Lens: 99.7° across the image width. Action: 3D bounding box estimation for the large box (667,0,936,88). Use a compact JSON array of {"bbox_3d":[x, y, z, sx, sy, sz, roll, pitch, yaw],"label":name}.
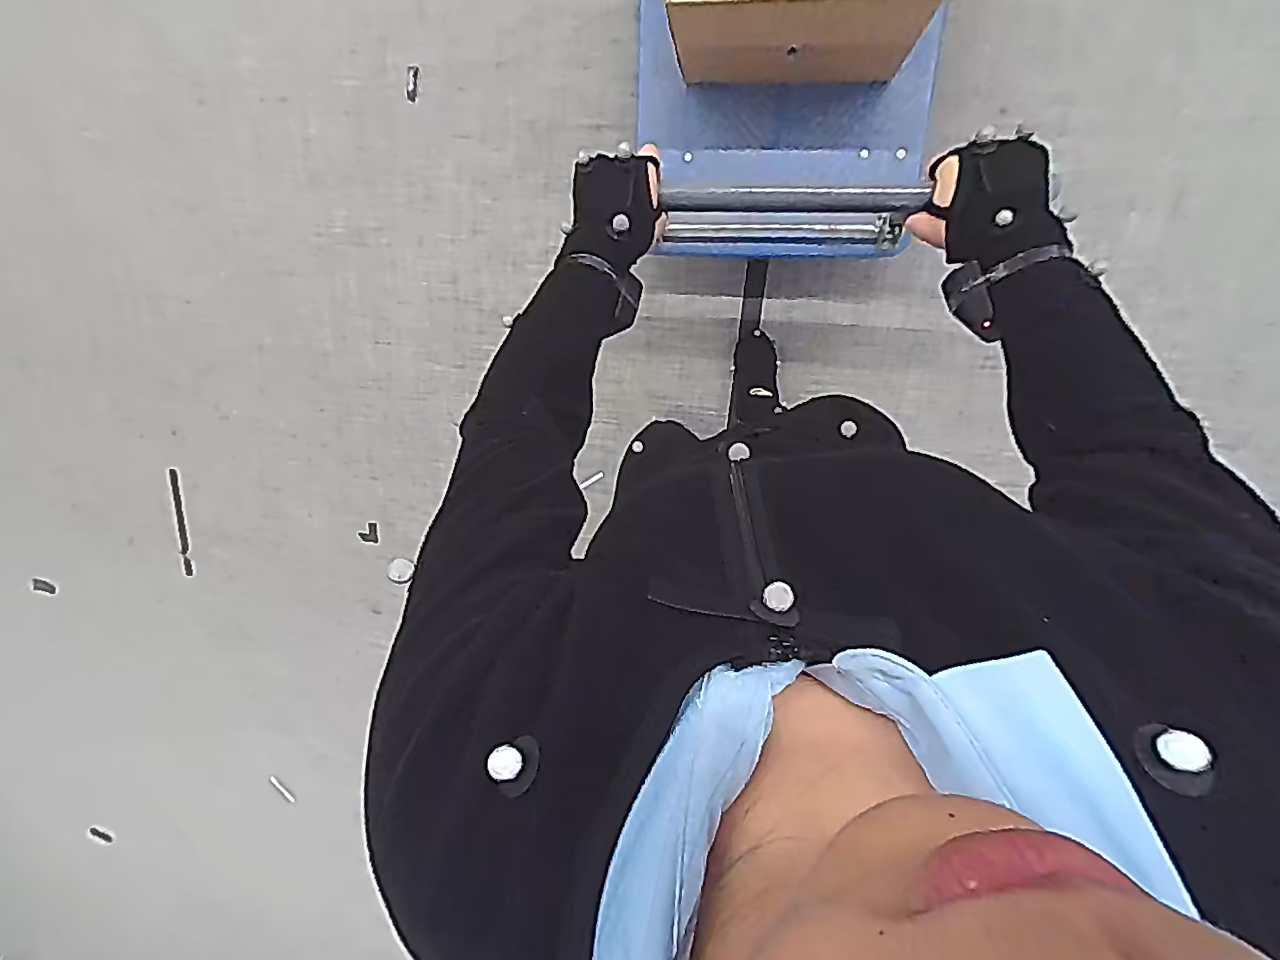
[{"bbox_3d":[0.270,-0.898,0.904,0.408,0.320,0.320,5,107,10],"label":"large box"}]
